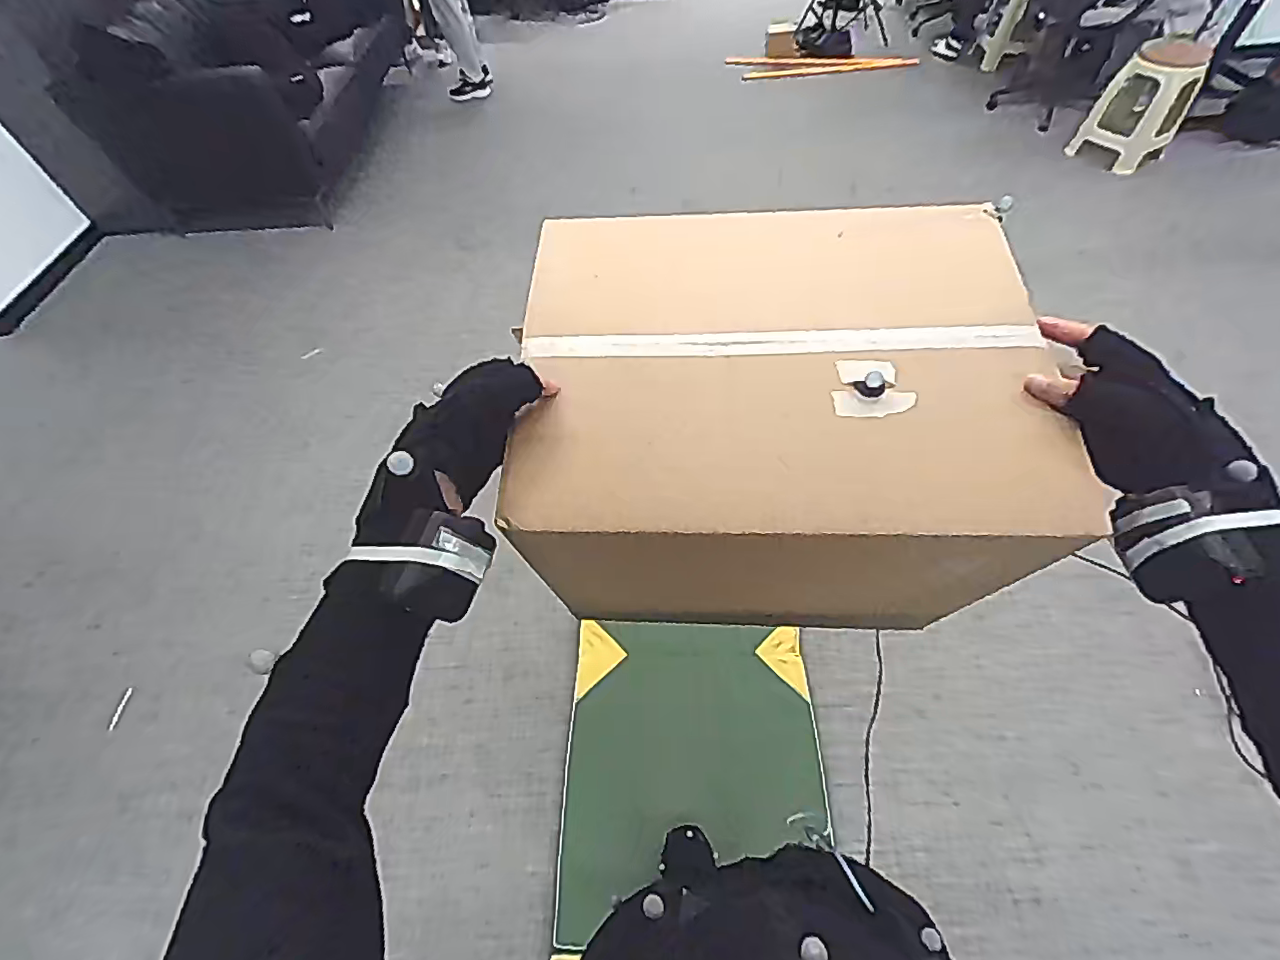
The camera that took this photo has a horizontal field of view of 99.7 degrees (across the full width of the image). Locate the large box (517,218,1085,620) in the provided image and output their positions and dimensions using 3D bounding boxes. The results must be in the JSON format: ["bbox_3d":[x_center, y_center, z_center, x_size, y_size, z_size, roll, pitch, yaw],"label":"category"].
[{"bbox_3d":[0.116,-0.038,0.576,0.408,0.320,0.320,0,64,4],"label":"large box"}]
